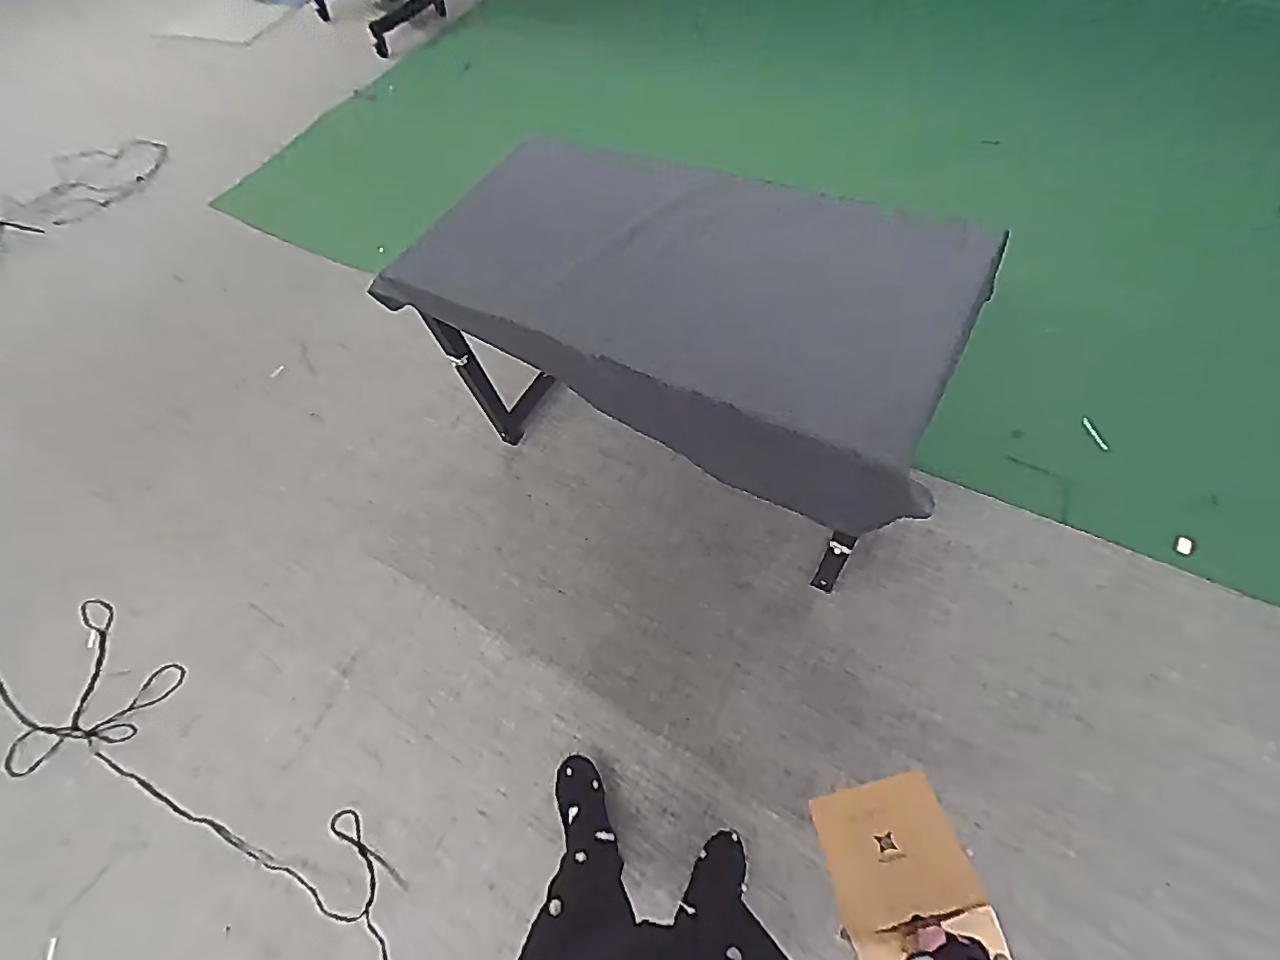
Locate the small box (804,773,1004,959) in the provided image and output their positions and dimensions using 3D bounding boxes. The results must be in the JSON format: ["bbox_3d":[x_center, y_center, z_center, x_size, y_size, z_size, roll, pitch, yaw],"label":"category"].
[{"bbox_3d":[0.339,0.535,0.706,0.168,0.176,0.179,-22,18,8],"label":"small box"}]
